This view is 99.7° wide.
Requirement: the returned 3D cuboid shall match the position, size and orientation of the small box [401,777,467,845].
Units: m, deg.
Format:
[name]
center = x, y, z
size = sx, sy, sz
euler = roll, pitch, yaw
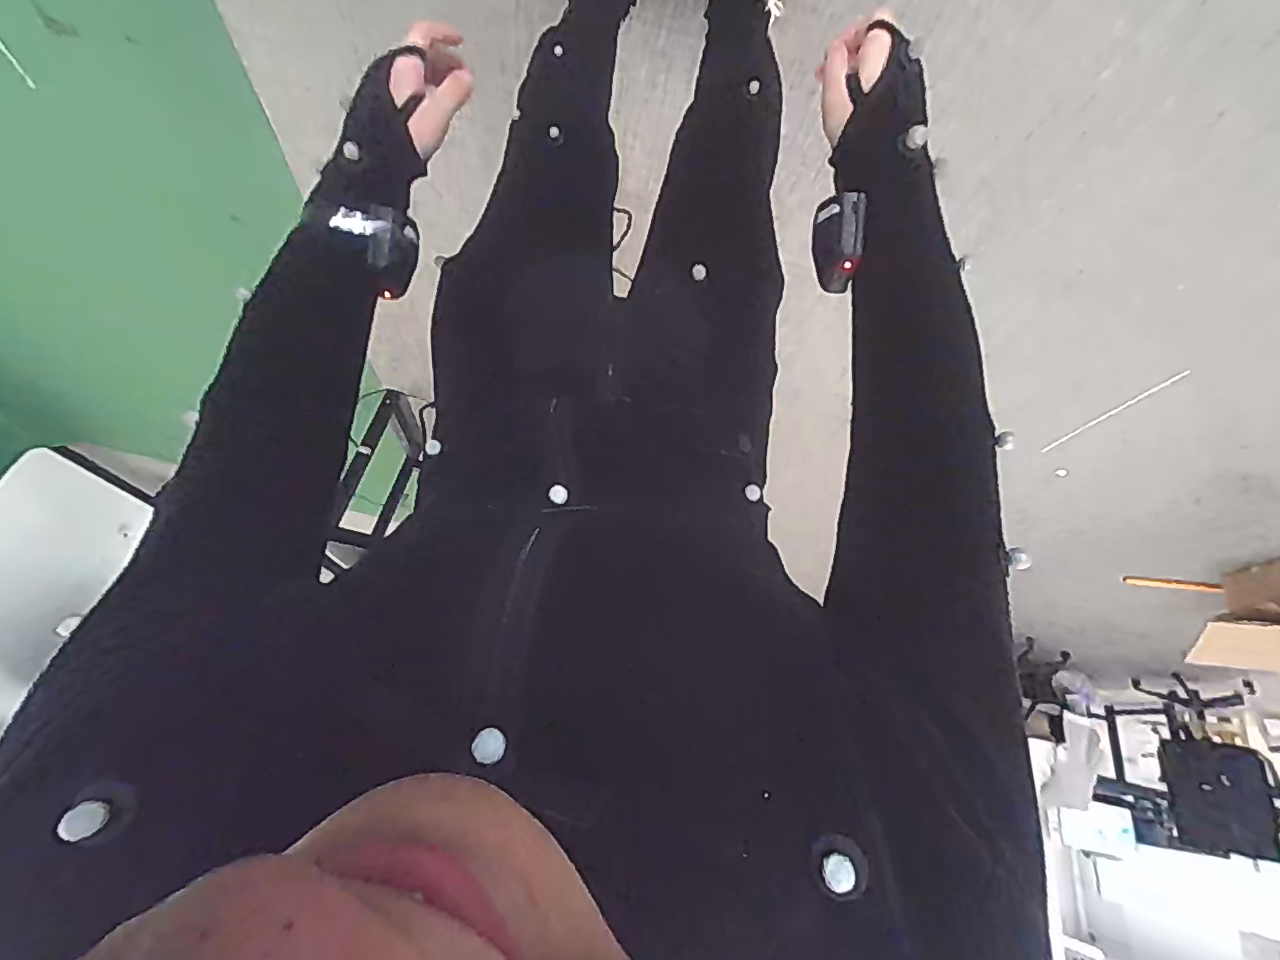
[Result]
[small box]
center = -0.738, 1.187, 1.951
size = 0.168, 0.176, 0.179
euler = 16, 155, -6
